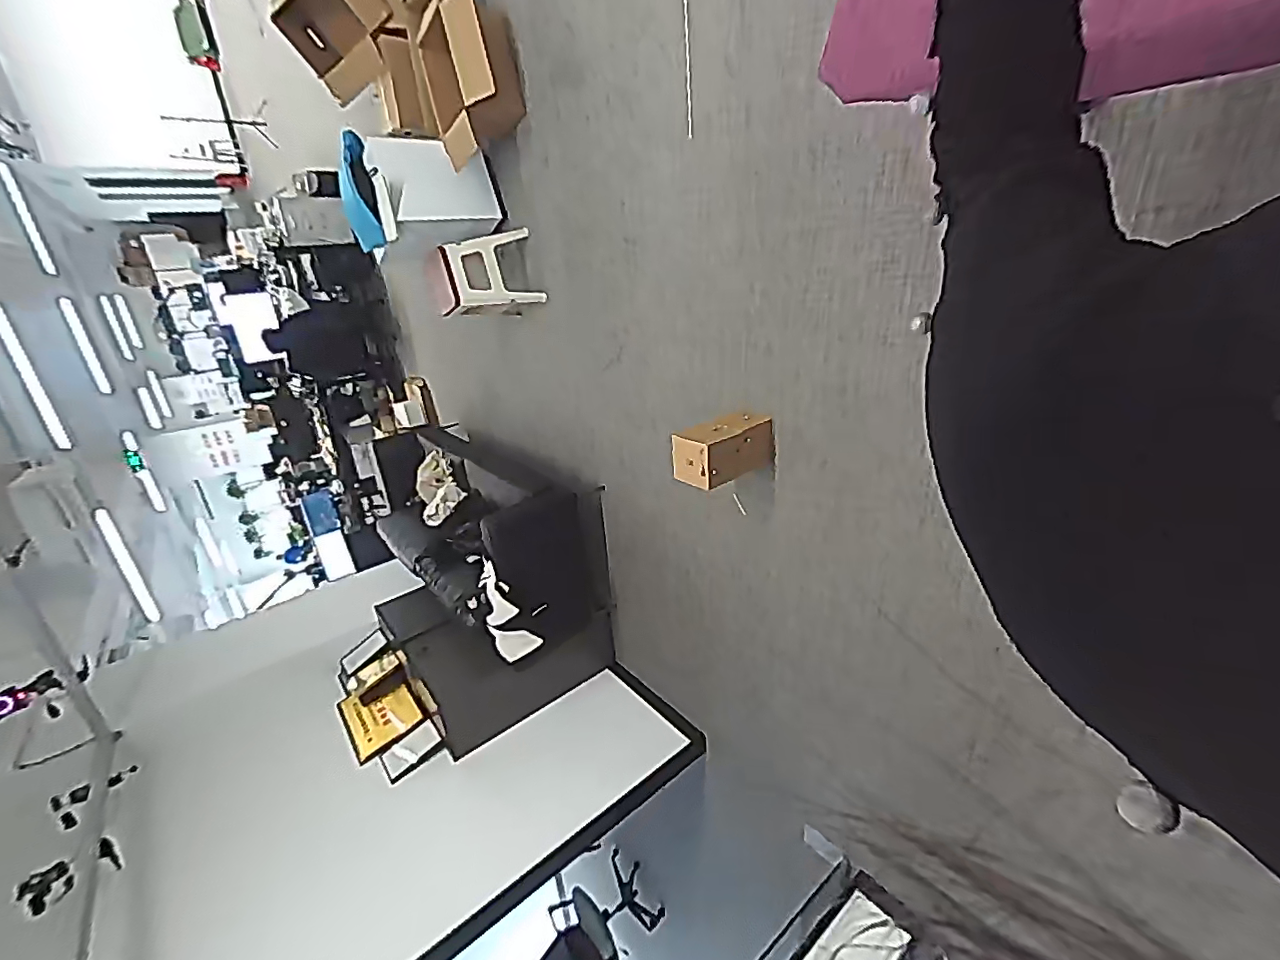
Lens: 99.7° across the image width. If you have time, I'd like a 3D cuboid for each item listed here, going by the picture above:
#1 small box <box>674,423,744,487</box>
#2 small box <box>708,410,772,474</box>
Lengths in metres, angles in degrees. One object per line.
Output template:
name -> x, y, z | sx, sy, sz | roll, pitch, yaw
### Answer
small box -> 0.239, -0.094, 1.880 | 0.179, 0.176, 0.168 | 24, 126, 48
small box -> 0.367, -0.143, 1.972 | 0.168, 0.176, 0.179 | 23, 125, 47
